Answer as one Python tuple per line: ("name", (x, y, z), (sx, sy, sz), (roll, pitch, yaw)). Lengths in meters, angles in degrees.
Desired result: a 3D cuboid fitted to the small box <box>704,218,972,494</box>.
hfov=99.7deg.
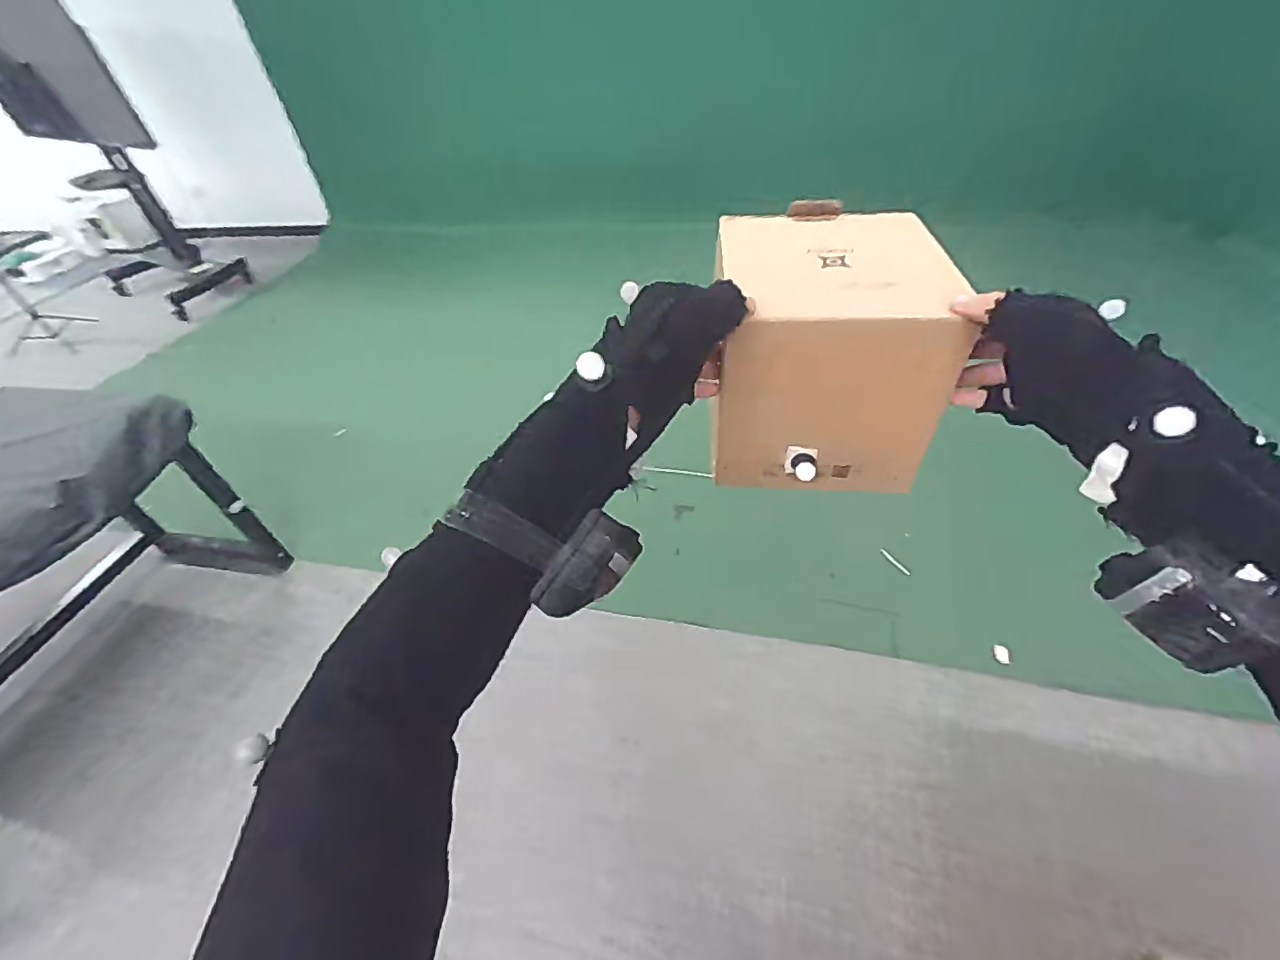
("small box", (0.143, -0.108, 0.471), (0.168, 0.176, 0.179), (0, 47, 4))
